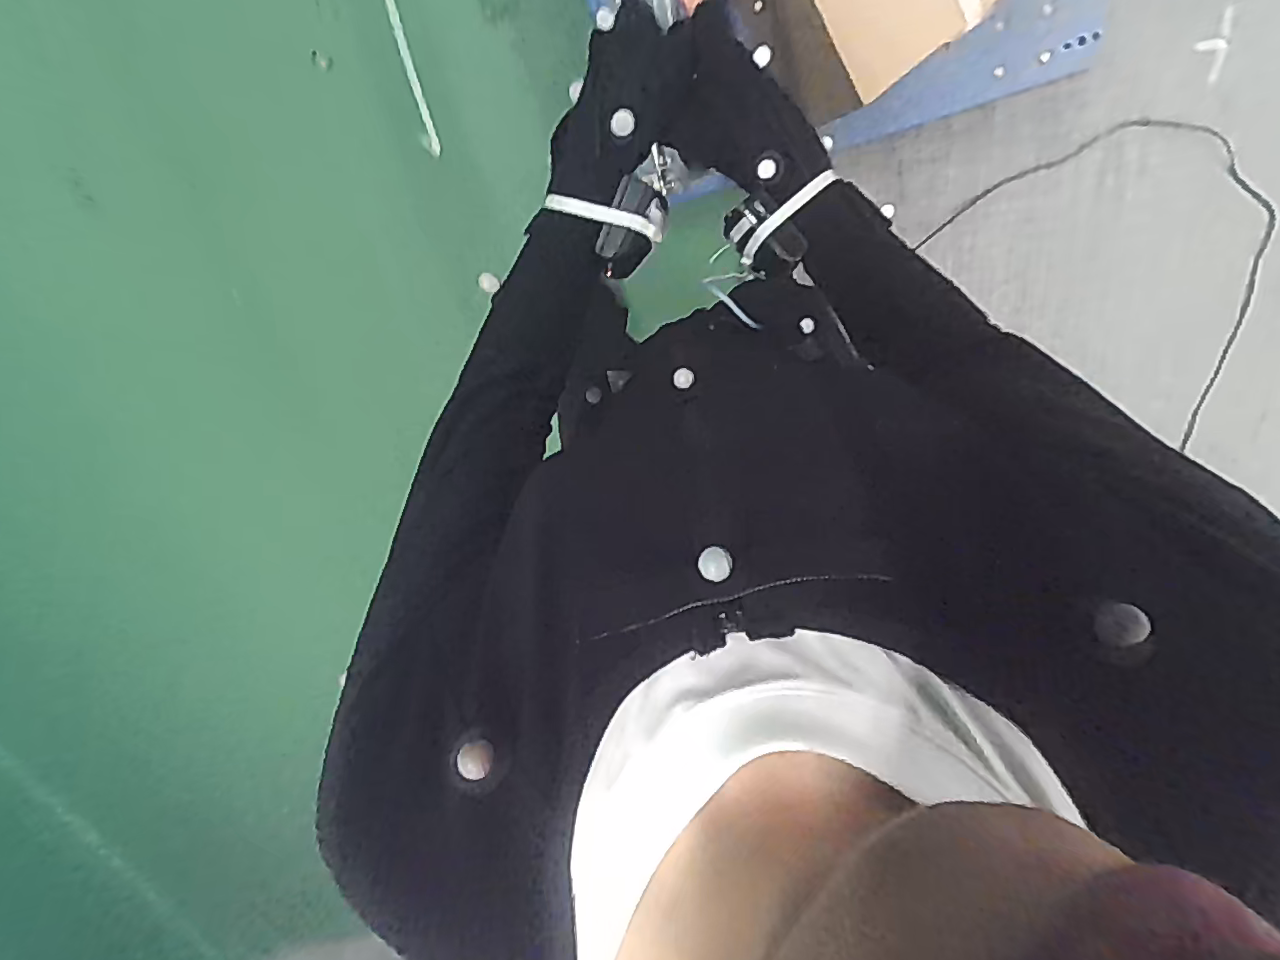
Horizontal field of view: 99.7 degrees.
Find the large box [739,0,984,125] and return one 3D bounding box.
[{"bbox_3d":[0.311,-0.819,0.777,0.320,0.320,0.408,-34,111,16],"label":"large box"}]
